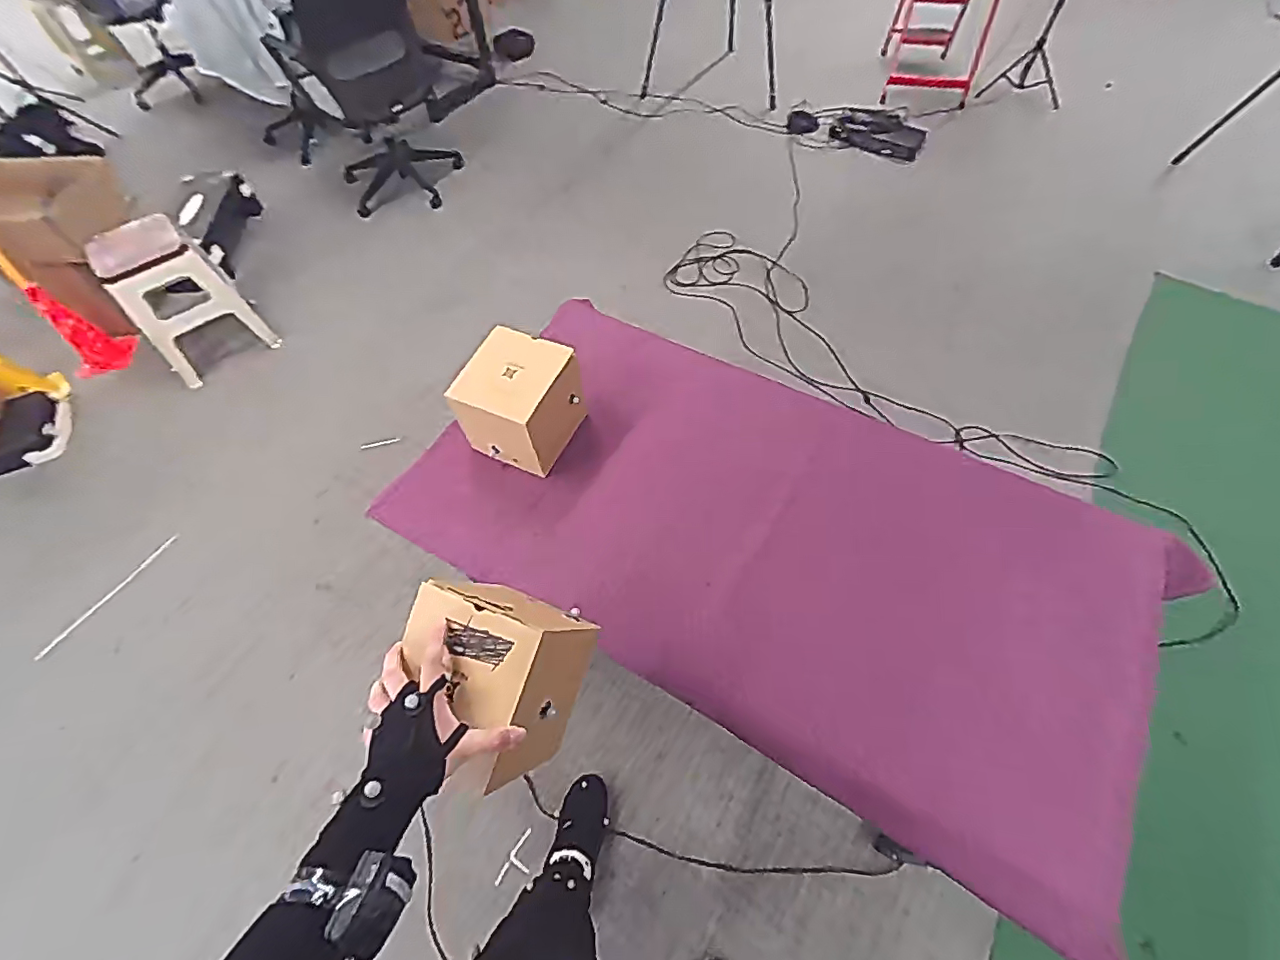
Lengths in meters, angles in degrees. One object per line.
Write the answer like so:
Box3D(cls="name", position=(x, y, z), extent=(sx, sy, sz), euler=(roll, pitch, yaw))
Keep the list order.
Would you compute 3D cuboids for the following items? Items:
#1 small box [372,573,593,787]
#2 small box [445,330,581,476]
Box3D(cls="small box", position=(-0.177, 0.227, 0.661), extent=(0.168, 0.176, 0.179), euler=(17, 84, 22))
Box3D(cls="small box", position=(-0.221, -0.140, 1.001), extent=(0.168, 0.176, 0.179), euler=(20, 62, 16))
